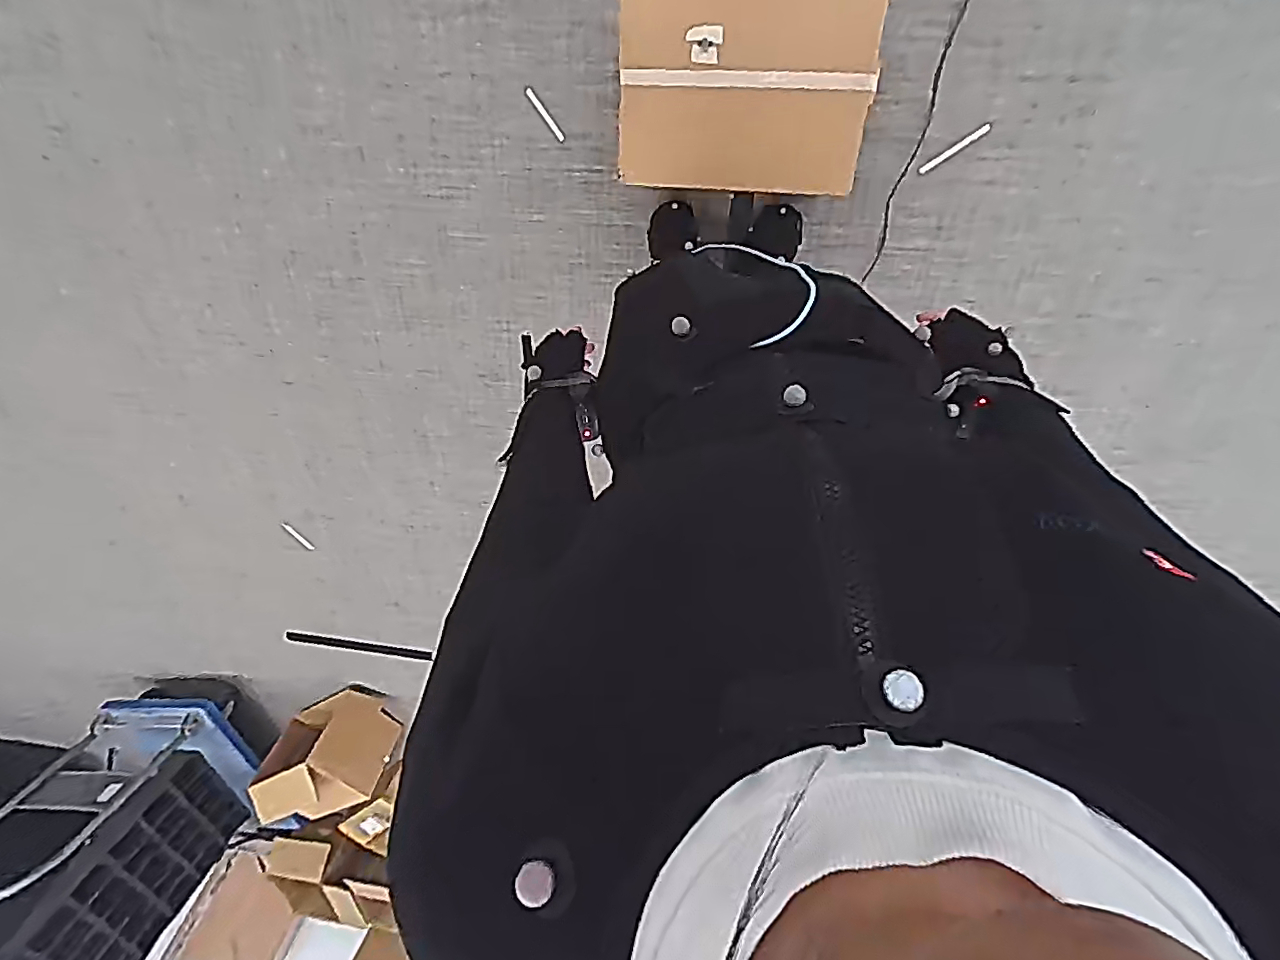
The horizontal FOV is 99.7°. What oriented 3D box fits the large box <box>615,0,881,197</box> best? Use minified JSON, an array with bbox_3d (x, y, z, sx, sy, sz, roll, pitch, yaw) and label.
[{"bbox_3d":[0.182,-0.708,0.998,0.408,0.320,0.320,7,118,7],"label":"large box"}]
